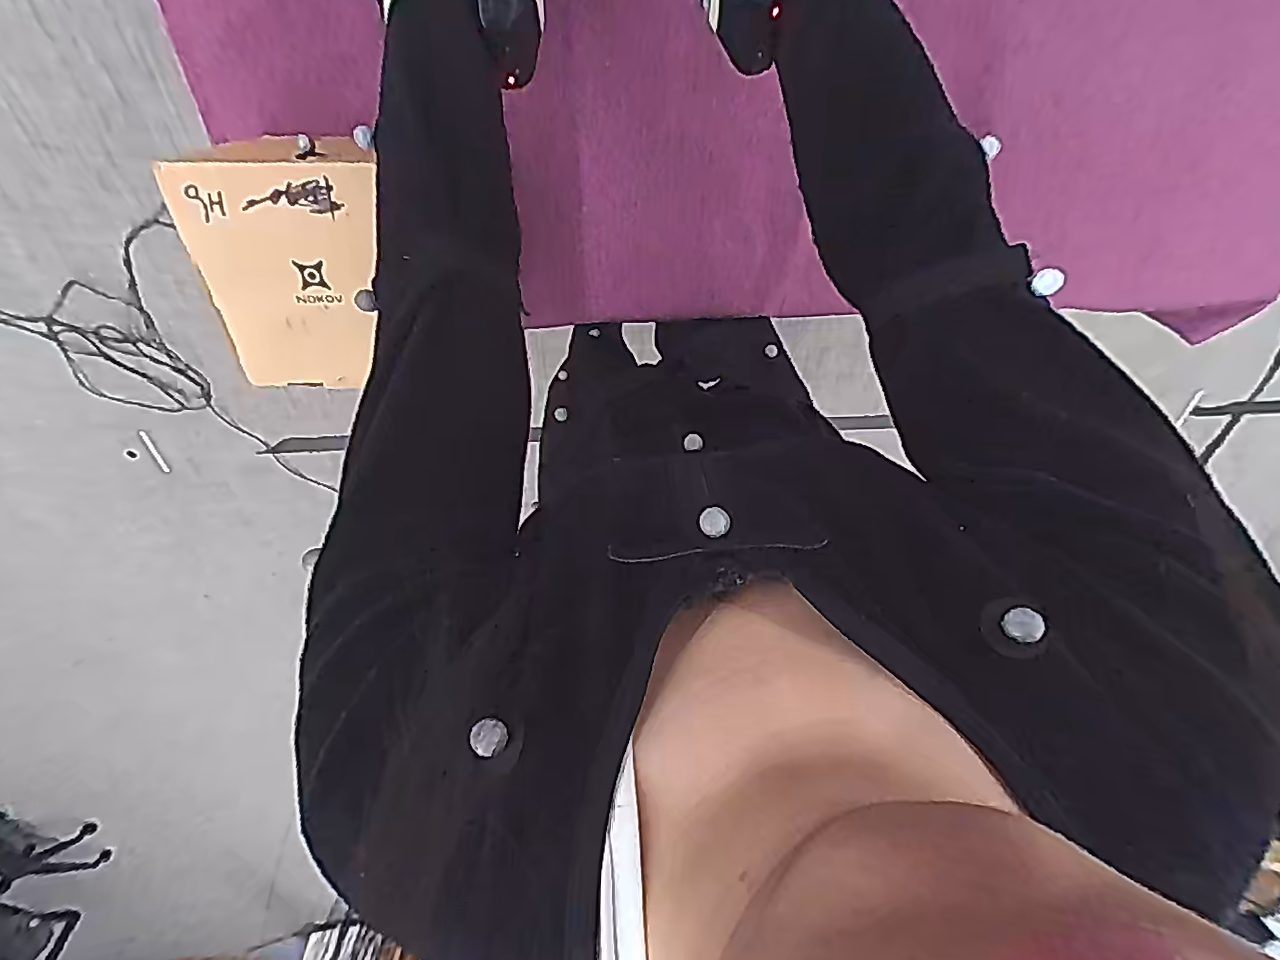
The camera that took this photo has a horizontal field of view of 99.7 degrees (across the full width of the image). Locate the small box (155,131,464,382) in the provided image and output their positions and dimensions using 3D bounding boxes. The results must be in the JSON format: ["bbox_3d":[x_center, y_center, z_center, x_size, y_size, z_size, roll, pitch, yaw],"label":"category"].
[{"bbox_3d":[-0.268,-0.207,0.498,0.168,0.176,0.179,-3,128,-6],"label":"small box"}]

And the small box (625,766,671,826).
[{"bbox_3d":[0.033,1.318,2.264,0.179,0.176,0.168,-3,127,-3],"label":"small box"}]

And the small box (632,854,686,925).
[{"bbox_3d":[0.065,1.520,2.006,0.179,0.176,0.168,-1,127,-6],"label":"small box"}]

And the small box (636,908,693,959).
[{"bbox_3d":[0.080,1.619,1.879,0.179,0.176,0.168,-1,127,-7],"label":"small box"}]
